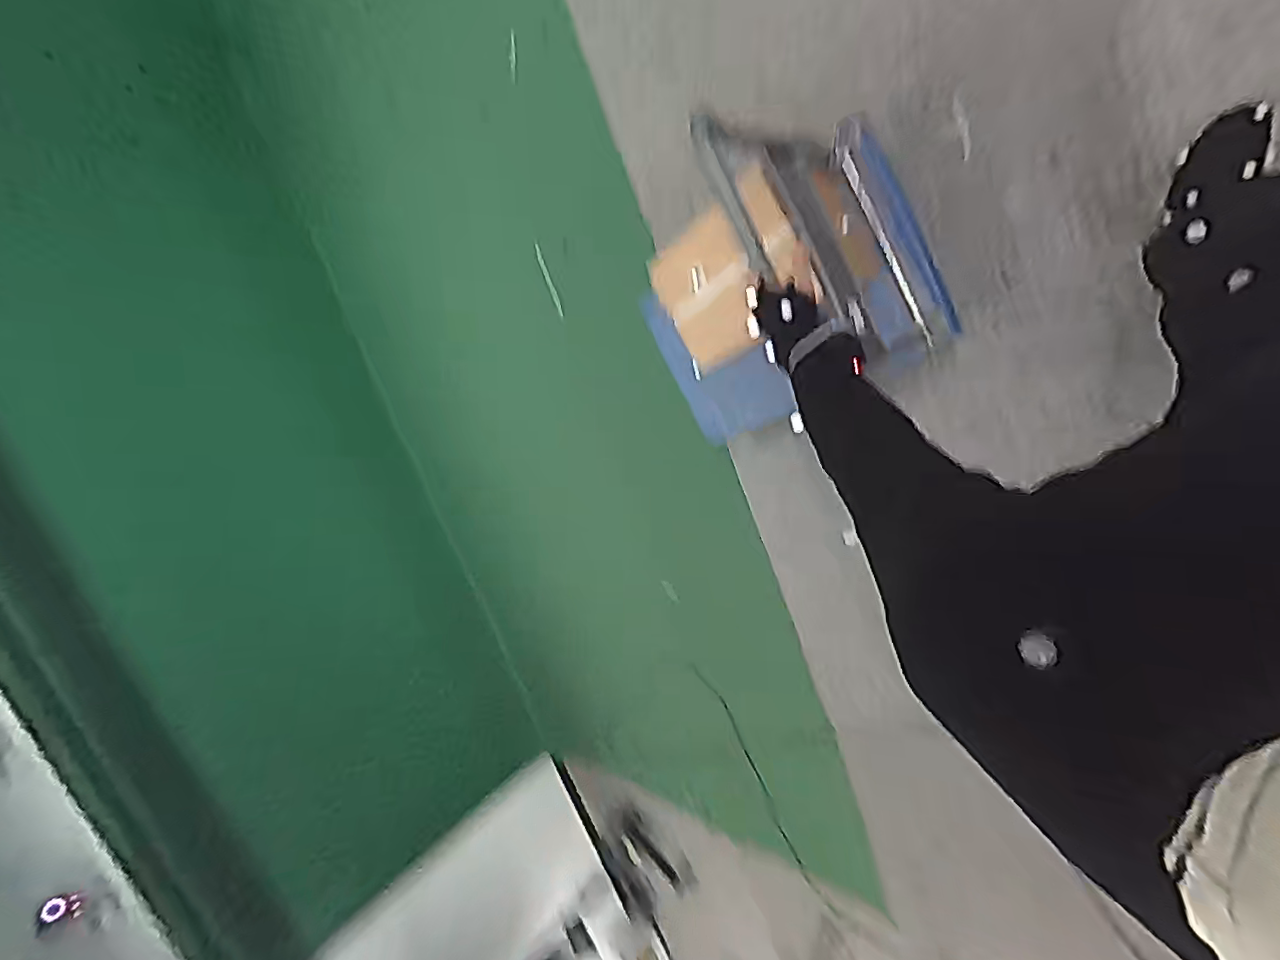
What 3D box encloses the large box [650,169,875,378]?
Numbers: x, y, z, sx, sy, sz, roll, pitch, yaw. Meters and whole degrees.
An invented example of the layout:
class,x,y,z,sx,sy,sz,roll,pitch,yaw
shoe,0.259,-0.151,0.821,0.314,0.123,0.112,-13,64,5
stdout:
class,x,y,z,sx,sy,sz,roll,pitch,yaw
large box,0.309,-0.524,1.396,0.408,0.320,0.320,-27,92,51
